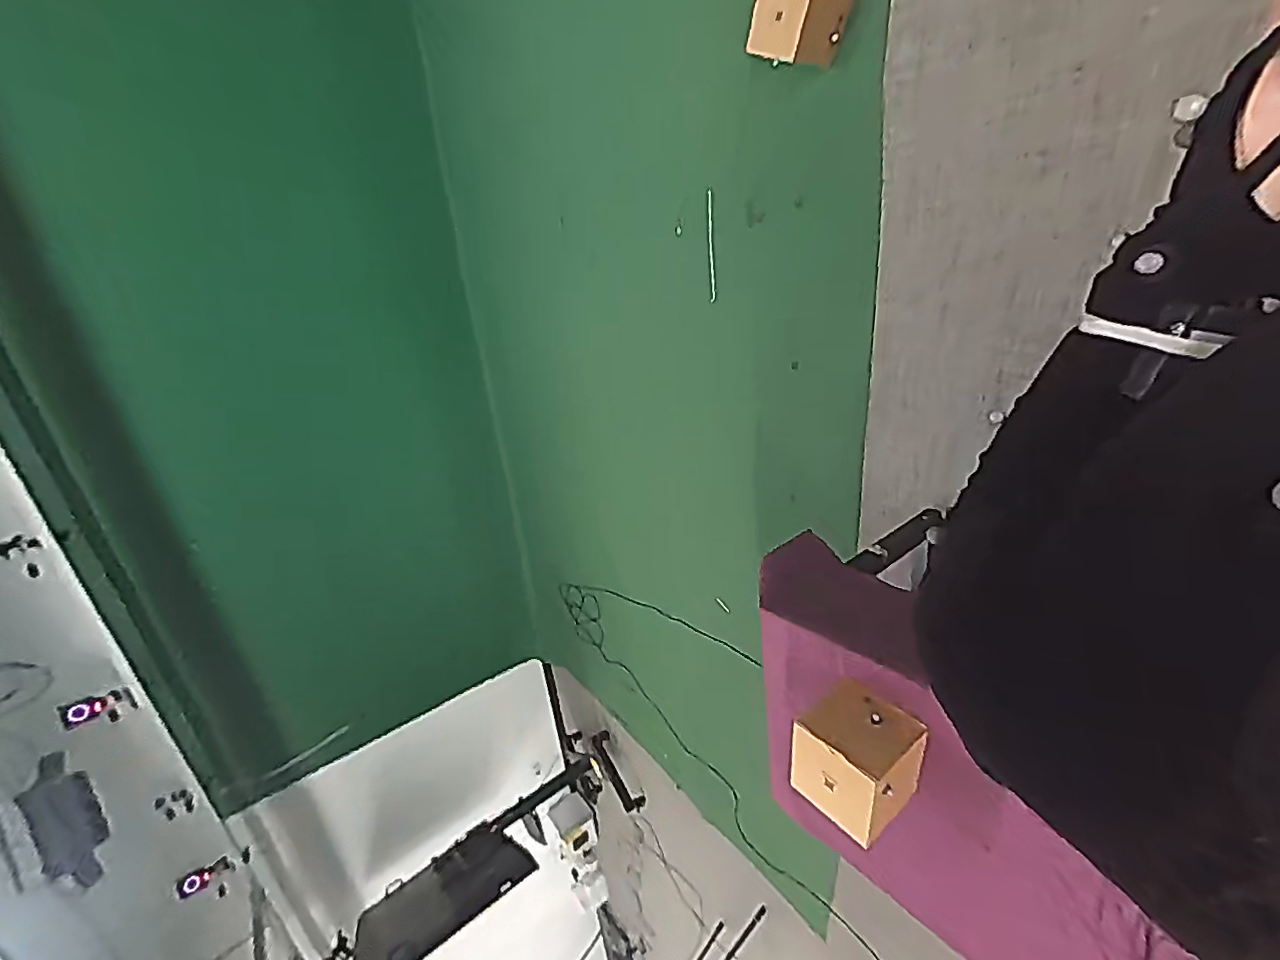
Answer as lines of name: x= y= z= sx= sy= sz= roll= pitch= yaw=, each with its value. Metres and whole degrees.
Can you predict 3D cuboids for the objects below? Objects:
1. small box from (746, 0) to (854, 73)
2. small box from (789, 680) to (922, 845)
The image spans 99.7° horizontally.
small box: x=0.415 y=-1.184 z=1.410 sx=0.179 sy=0.176 sz=0.168 roll=46 pitch=141 yaw=33
small box: x=0.402 y=0.518 z=1.014 sx=0.168 sy=0.176 sz=0.179 roll=25 pitch=126 yaw=48
